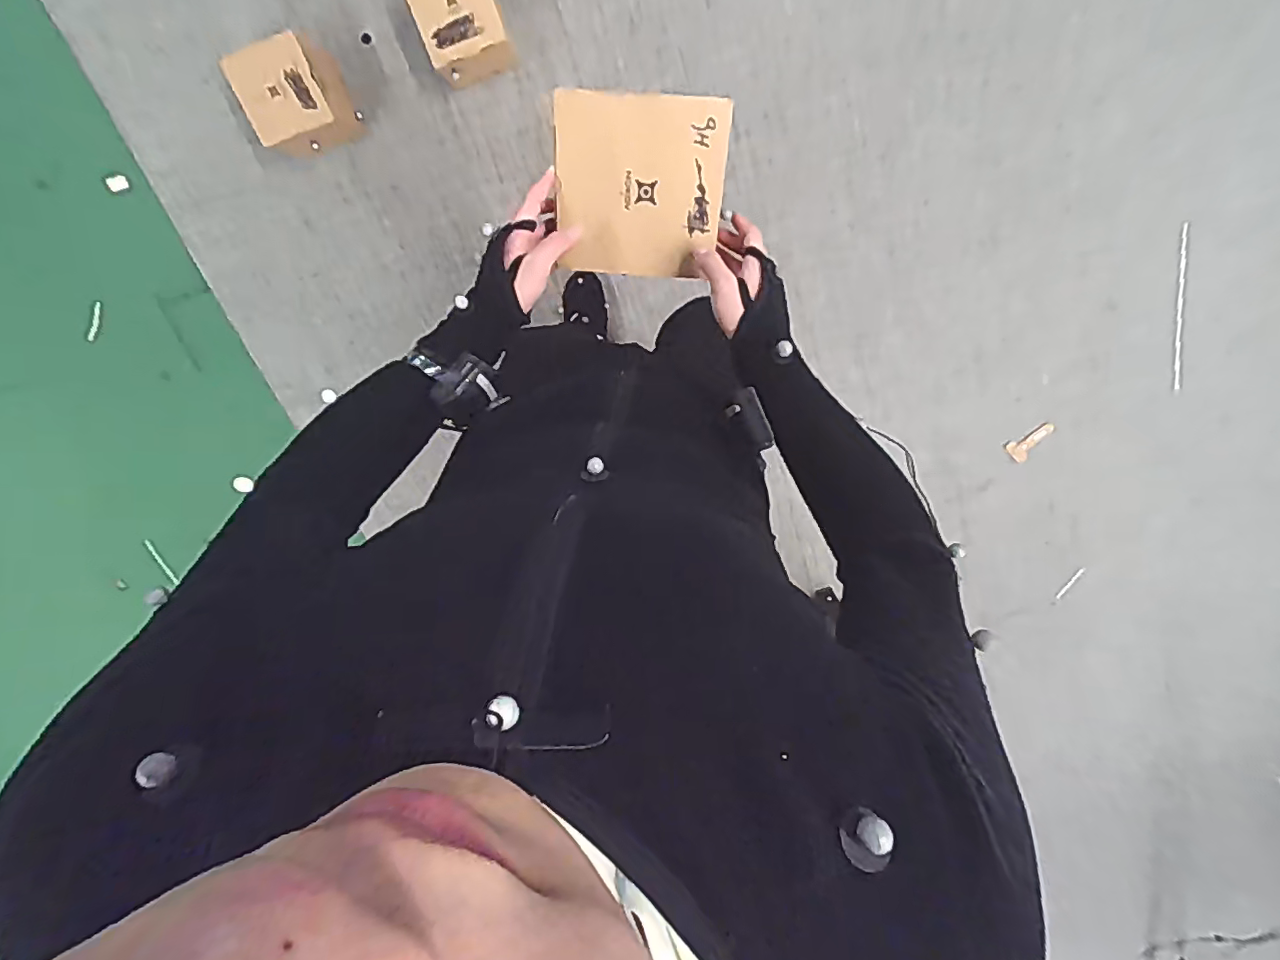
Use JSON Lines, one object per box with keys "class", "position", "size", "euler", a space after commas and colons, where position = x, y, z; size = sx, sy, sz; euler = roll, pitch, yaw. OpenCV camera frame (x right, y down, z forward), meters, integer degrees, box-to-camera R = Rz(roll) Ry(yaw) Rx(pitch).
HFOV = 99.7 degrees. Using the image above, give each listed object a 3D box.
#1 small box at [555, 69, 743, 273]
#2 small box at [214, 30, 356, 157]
{"class": "small box", "position": [0.008, -0.338, 0.604], "size": [0.179, 0.176, 0.168], "euler": [5, 121, 1]}
{"class": "small box", "position": [-0.761, -0.838, 1.189], "size": [0.179, 0.176, 0.168], "euler": [-17, 112, 6]}
